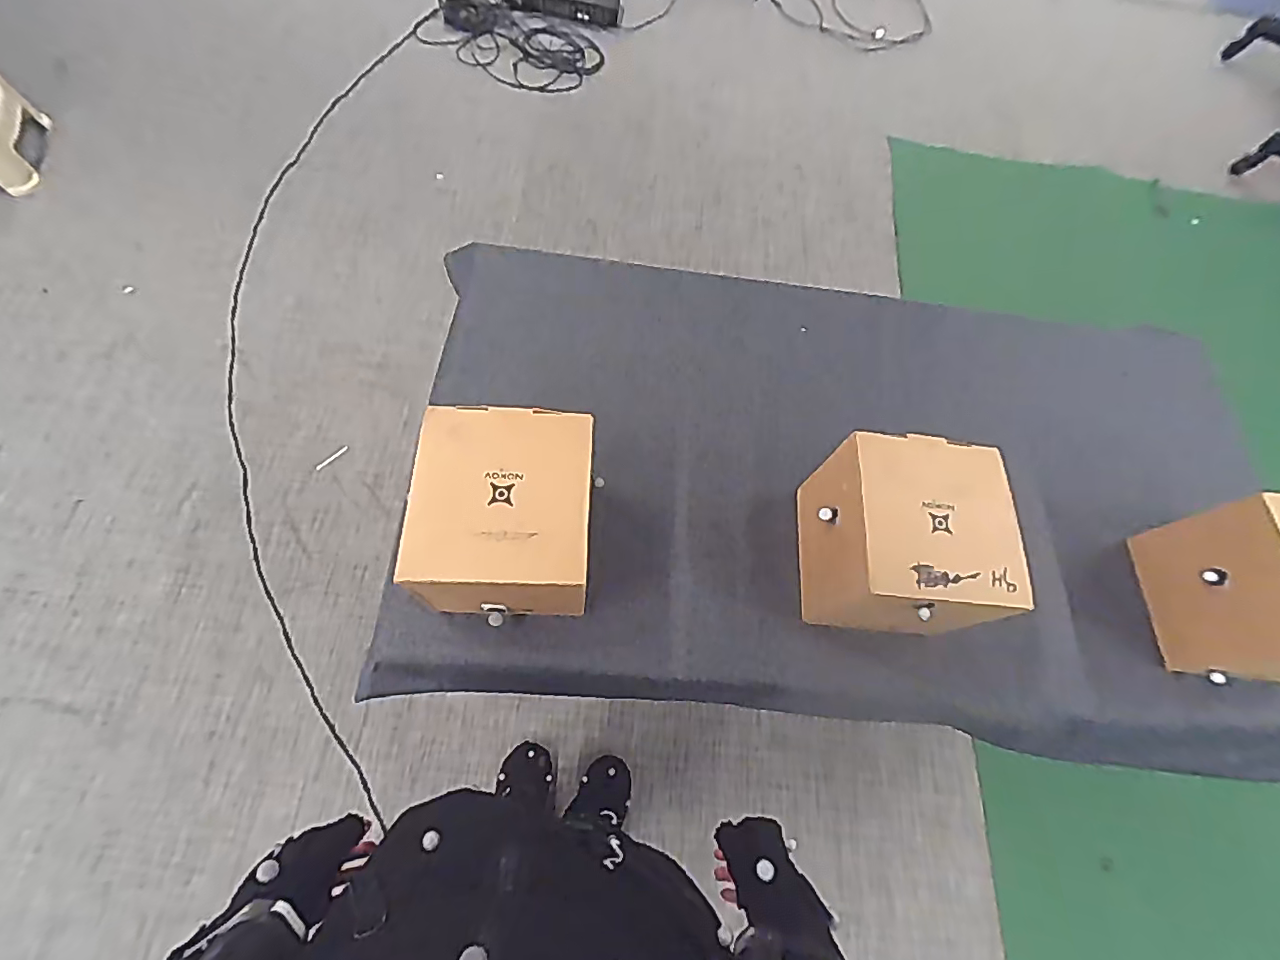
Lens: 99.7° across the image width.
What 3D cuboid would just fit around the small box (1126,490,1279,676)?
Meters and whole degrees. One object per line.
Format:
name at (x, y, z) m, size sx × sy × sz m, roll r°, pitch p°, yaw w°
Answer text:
small box at (0.745, 0.131, 0.640) m, size 0.168 × 0.176 × 0.179 m, roll 6°, pitch 65°, yaw -4°

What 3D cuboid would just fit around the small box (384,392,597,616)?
small box at (-0.134, 0.033, 0.556) m, size 0.168 × 0.176 × 0.179 m, roll 4°, pitch 67°, yaw -4°

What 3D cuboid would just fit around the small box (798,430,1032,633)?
small box at (0.289, 0.067, 0.616) m, size 0.168 × 0.176 × 0.179 m, roll 6°, pitch 65°, yaw -4°
